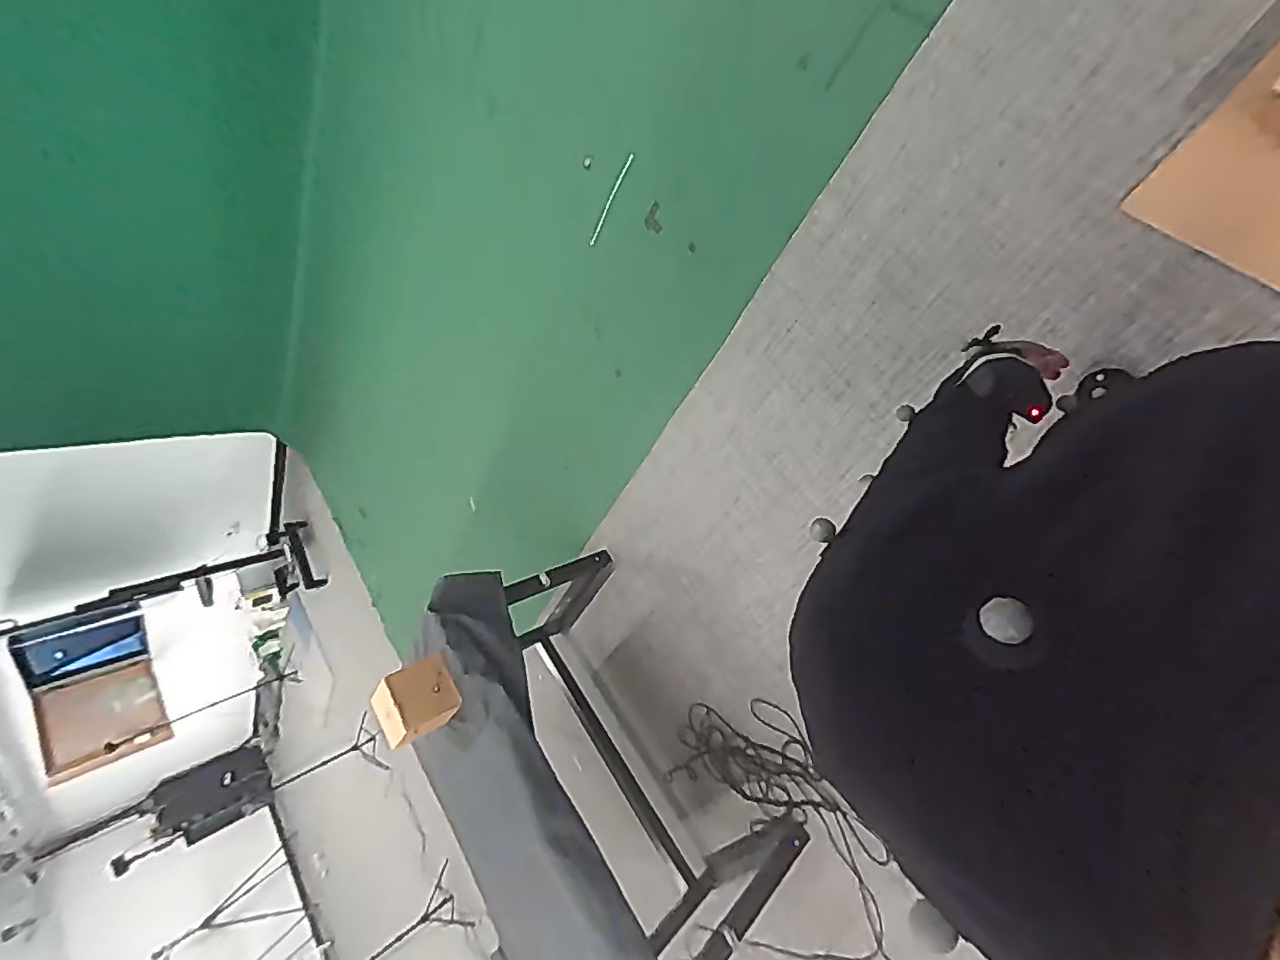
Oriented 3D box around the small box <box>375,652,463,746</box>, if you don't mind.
[{"bbox_3d":[-0.639,0.632,1.568,0.168,0.176,0.179,54,131,19],"label":"small box"}]
